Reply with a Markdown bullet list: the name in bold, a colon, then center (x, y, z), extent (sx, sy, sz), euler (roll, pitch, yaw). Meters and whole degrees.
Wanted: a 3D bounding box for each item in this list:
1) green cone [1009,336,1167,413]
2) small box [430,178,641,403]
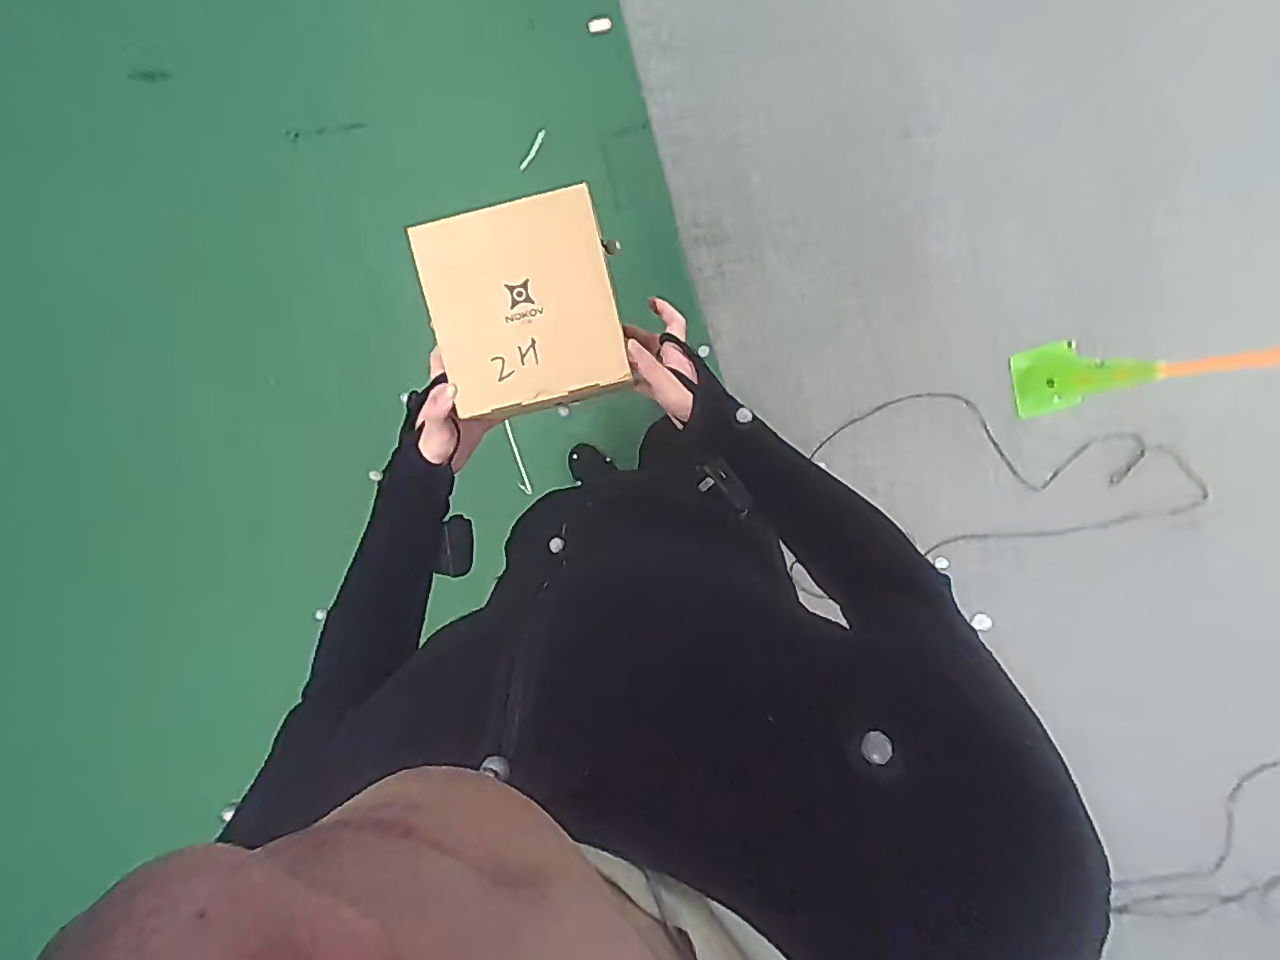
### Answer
- **green cone**: center (1.225, -0.289, 1.462), extent (0.200, 0.368, 0.202), euler (-14, 100, 1)
- **small box**: center (-0.095, -0.181, 0.569), extent (0.168, 0.176, 0.179), euler (-10, 98, 2)
